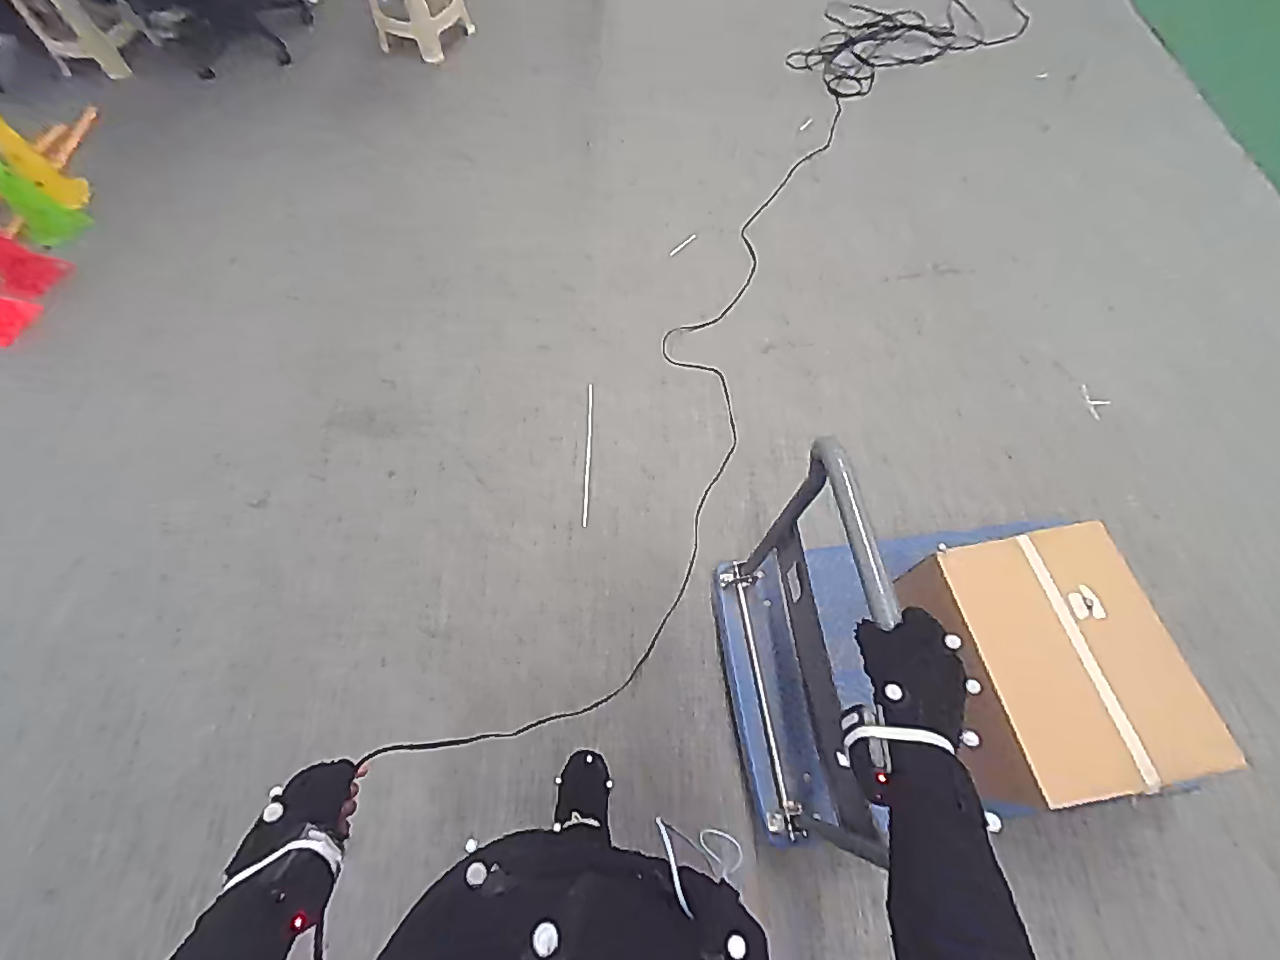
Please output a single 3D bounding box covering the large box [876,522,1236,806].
[{"bbox_3d":[0.707,0.342,1.014,0.320,0.320,0.408,-10,63,-3],"label":"large box"}]
